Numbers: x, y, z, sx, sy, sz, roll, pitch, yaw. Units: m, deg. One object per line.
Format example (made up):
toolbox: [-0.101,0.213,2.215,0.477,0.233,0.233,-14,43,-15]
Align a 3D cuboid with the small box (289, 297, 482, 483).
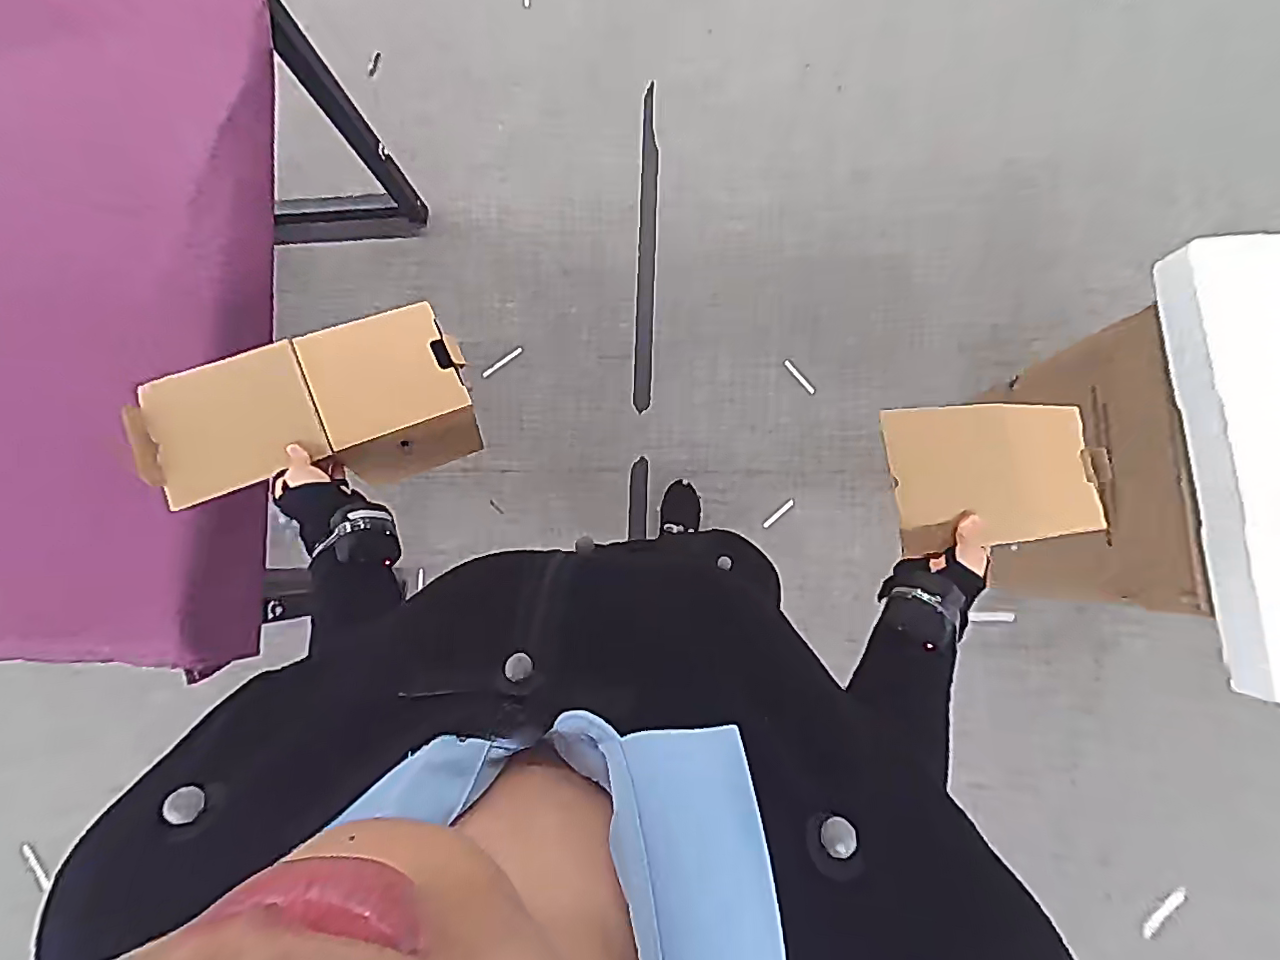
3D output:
small box: [-0.335,-0.114,0.744,0.179,0.176,0.168,-23,79,-17]
